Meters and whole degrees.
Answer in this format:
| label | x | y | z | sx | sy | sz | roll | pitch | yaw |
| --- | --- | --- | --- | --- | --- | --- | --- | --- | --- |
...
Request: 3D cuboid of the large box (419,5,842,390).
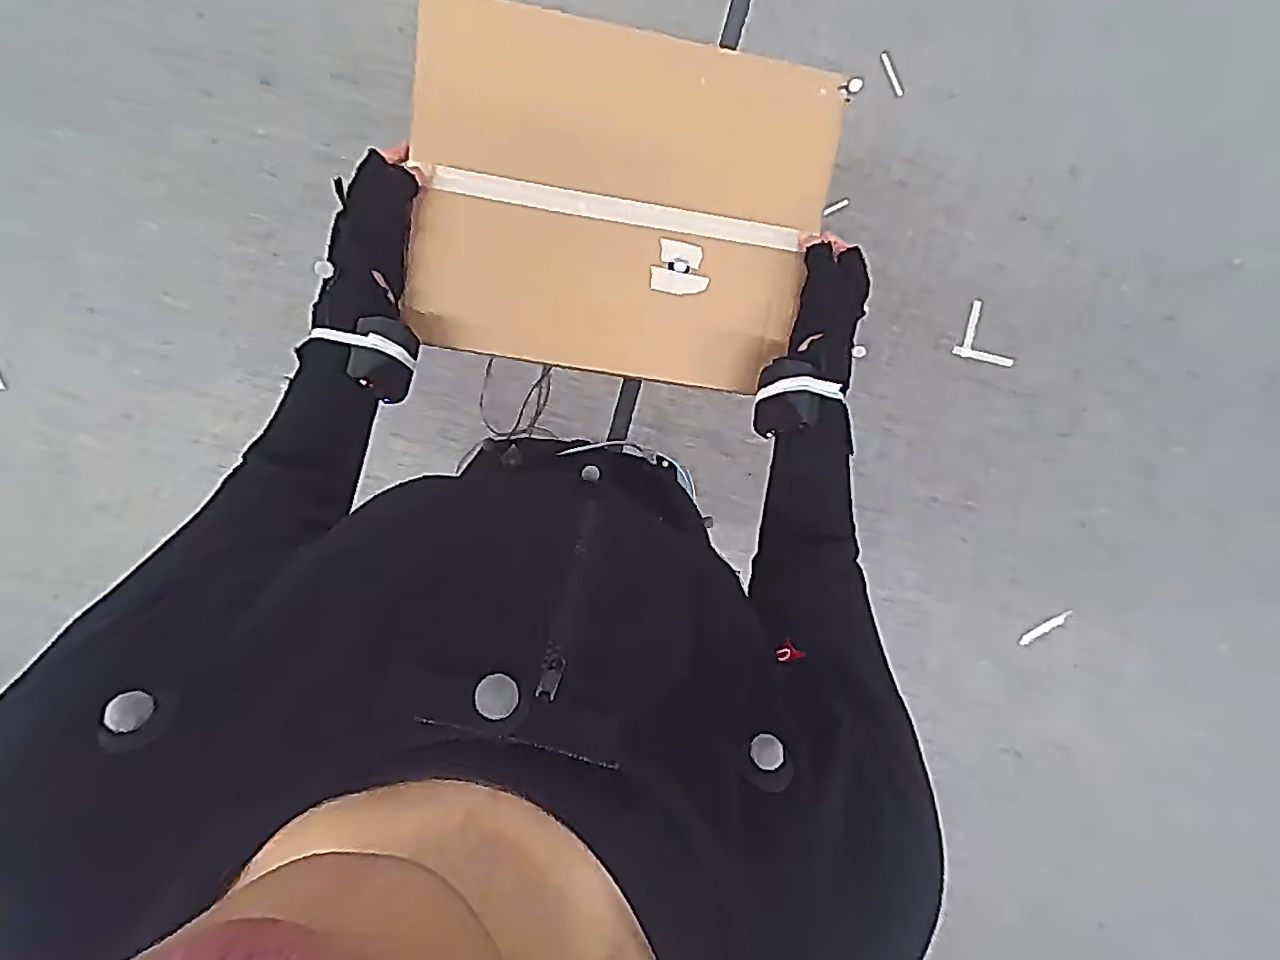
| label | x | y | z | sx | sy | sz | roll | pitch | yaw |
| --- | --- | --- | --- | --- | --- | --- | --- | --- | --- |
| large box | -0.026 | -0.300 | 0.692 | 0.408 | 0.320 | 0.320 | 8 | 102 | -6 |
